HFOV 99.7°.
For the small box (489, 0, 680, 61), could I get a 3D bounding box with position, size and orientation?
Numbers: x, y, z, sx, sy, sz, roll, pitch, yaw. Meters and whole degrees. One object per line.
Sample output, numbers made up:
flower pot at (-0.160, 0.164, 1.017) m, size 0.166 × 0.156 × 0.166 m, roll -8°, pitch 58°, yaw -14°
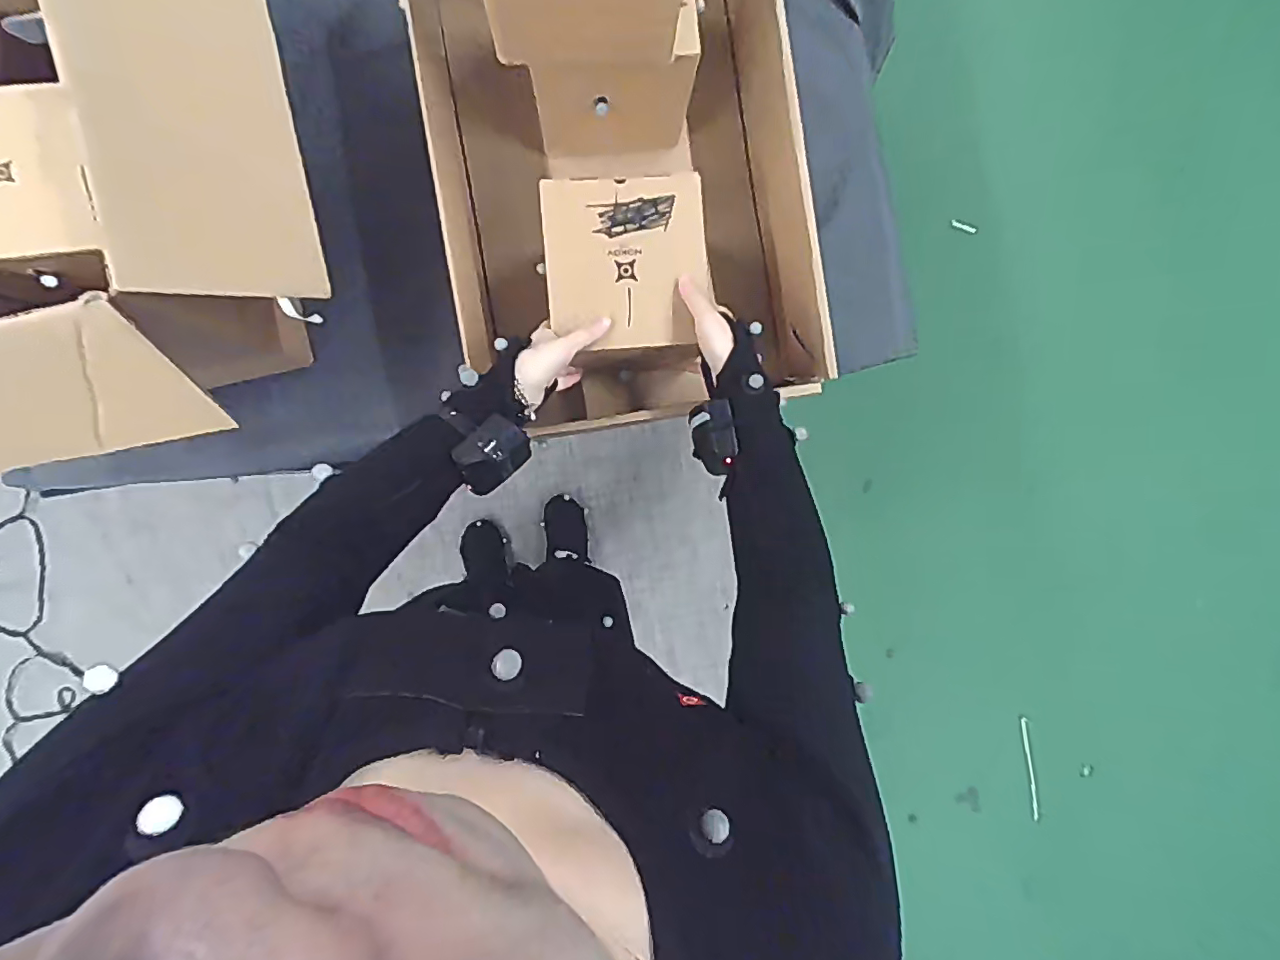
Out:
small box at (-0.049, -0.497, 0.458) m, size 0.179 × 0.176 × 0.168 m, roll -2°, pitch 93°, yaw -5°
